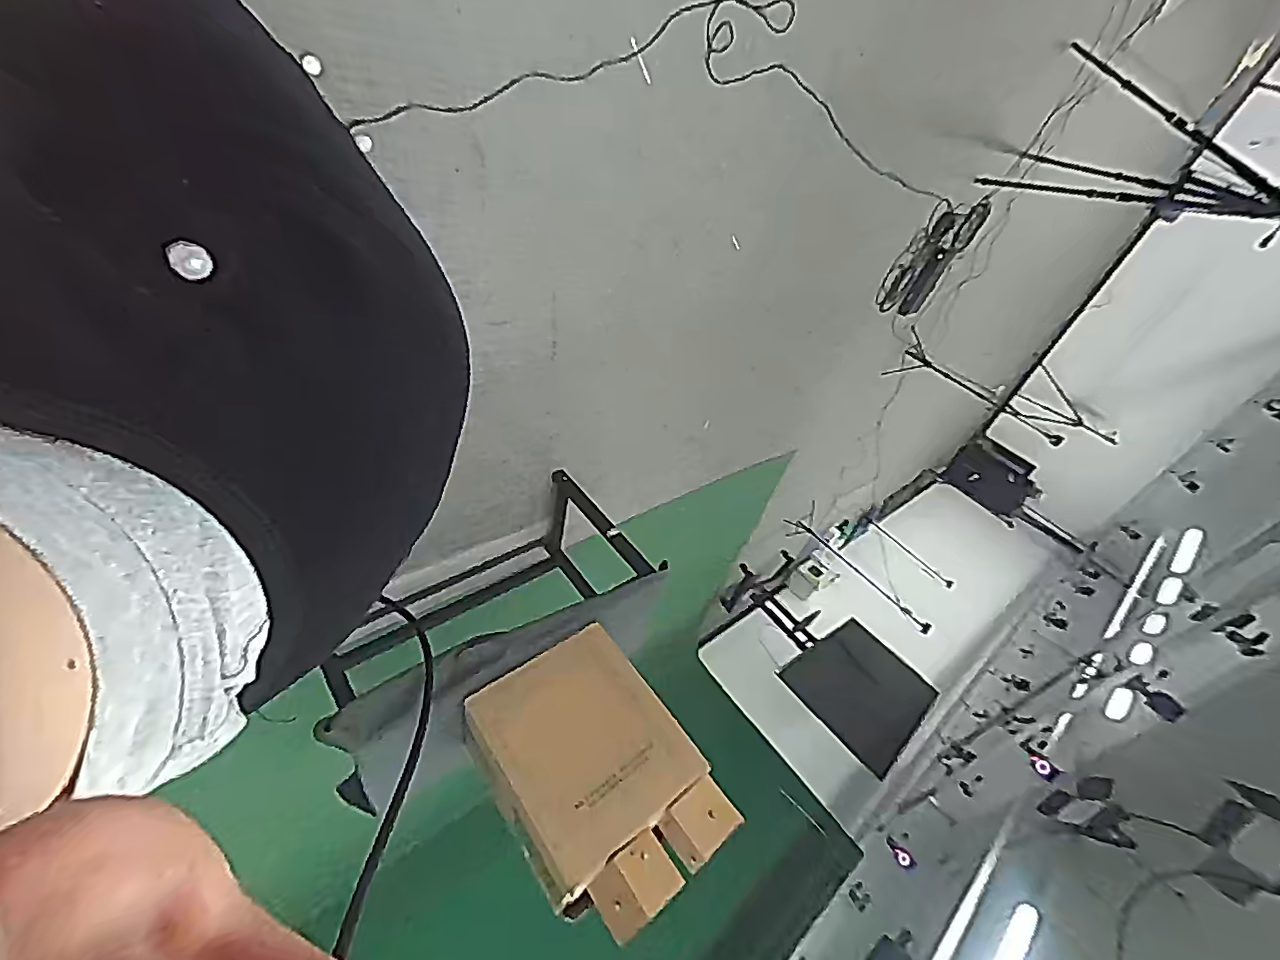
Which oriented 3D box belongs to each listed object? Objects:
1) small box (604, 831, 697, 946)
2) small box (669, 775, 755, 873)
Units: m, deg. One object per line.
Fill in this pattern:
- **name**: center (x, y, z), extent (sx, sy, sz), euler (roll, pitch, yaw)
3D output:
- **small box**: center (0.023, 1.149, 1.535), extent (0.168, 0.176, 0.179), euler (-2, 128, -50)
- **small box**: center (0.220, 1.060, 1.679), extent (0.179, 0.176, 0.168), euler (-26, 144, -35)
